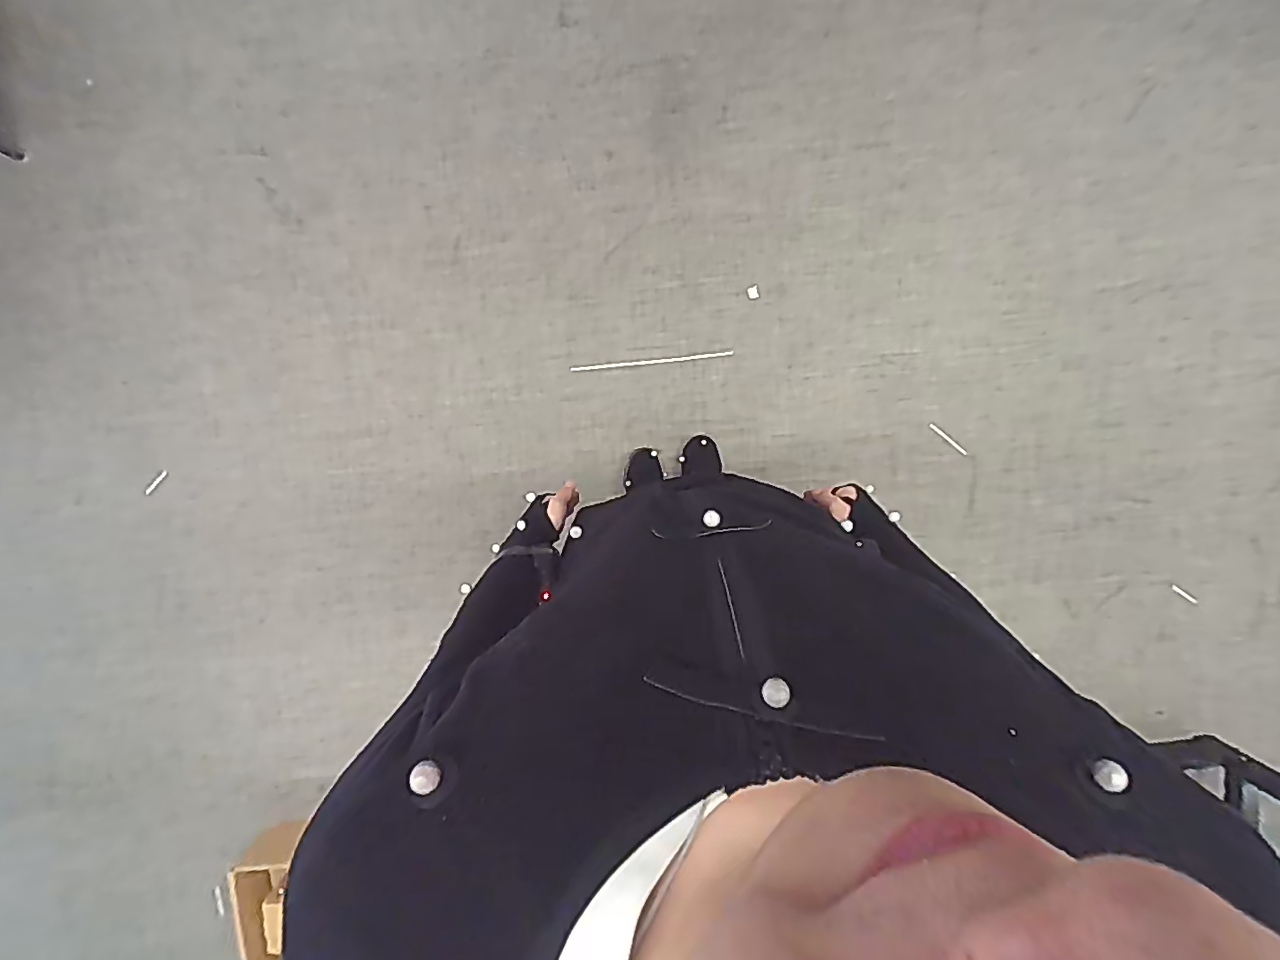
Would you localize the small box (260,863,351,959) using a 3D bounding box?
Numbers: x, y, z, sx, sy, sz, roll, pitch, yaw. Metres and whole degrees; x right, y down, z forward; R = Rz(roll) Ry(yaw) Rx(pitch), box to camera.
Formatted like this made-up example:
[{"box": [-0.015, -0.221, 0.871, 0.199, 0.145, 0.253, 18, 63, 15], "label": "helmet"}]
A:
[{"box": [-1.006, 1.303, 1.645, 0.179, 0.176, 0.168, -3, 96, 1], "label": "small box"}]
